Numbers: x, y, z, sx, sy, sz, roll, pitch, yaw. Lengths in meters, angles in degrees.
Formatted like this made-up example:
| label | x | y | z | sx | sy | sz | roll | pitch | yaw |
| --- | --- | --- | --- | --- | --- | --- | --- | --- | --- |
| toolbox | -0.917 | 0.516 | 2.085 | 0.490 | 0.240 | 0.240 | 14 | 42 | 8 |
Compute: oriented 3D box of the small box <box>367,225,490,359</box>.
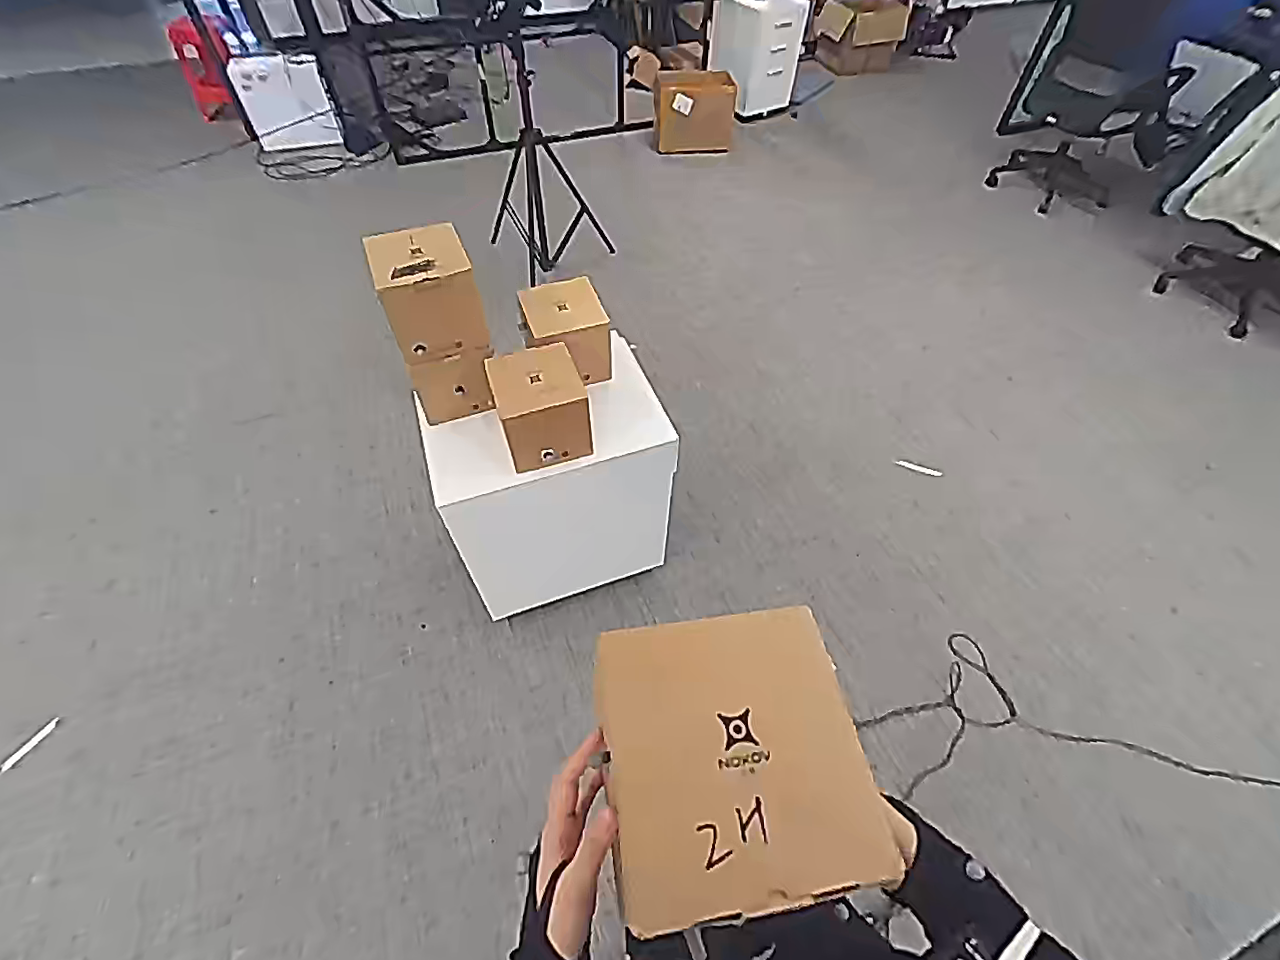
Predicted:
| label | x | y | z | sx | sy | sz | roll | pitch | yaw |
| --- | --- | --- | --- | --- | --- | --- | --- | --- | --- |
| small box | -0.400 | -0.353 | 1.039 | 0.168 | 0.176 | 0.179 | -19 | 56 | -15 |

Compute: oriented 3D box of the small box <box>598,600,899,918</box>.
| label | x | y | z | sx | sy | sz | roll | pitch | yaw |
| --- | --- | --- | --- | --- | --- | --- | --- | --- | --- |
| small box | 0.058 | 0.216 | 0.427 | 0.168 | 0.176 | 0.179 | -5 | 56 | -9 |

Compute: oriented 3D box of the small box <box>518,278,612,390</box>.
| label | x | y | z | sx | sy | sz | roll | pitch | yaw |
| --- | --- | --- | --- | --- | --- | --- | --- | --- | --- |
| small box | -0.166 | -0.324 | 1.229 | 0.168 | 0.176 | 0.179 | -17 | 56 | -13 |
